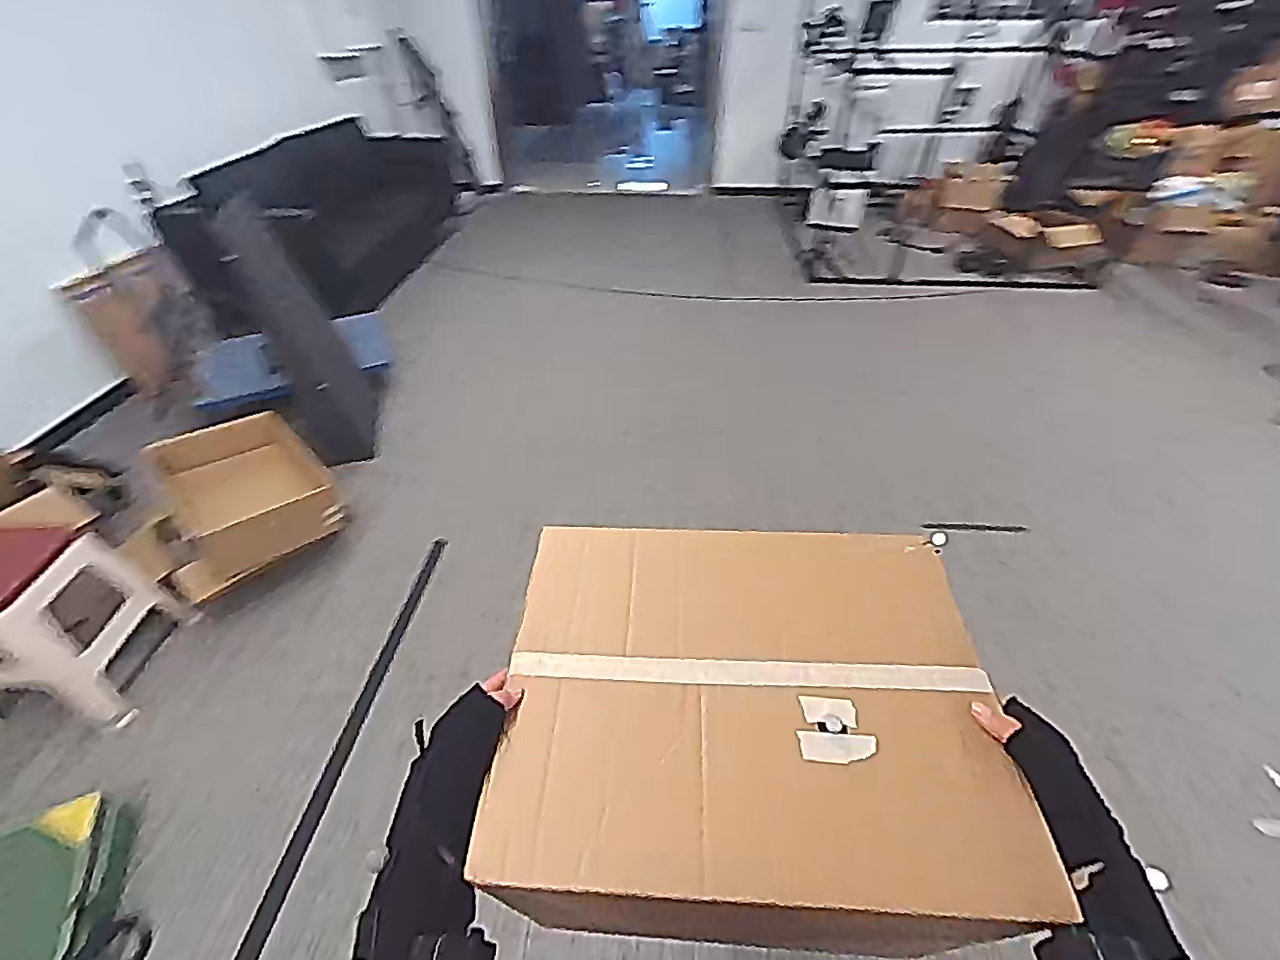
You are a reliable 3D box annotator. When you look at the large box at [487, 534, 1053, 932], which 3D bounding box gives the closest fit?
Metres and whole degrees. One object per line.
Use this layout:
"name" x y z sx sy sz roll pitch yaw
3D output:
"large box" 0.093 0.272 0.584 0.408 0.320 0.320 0 47 3
